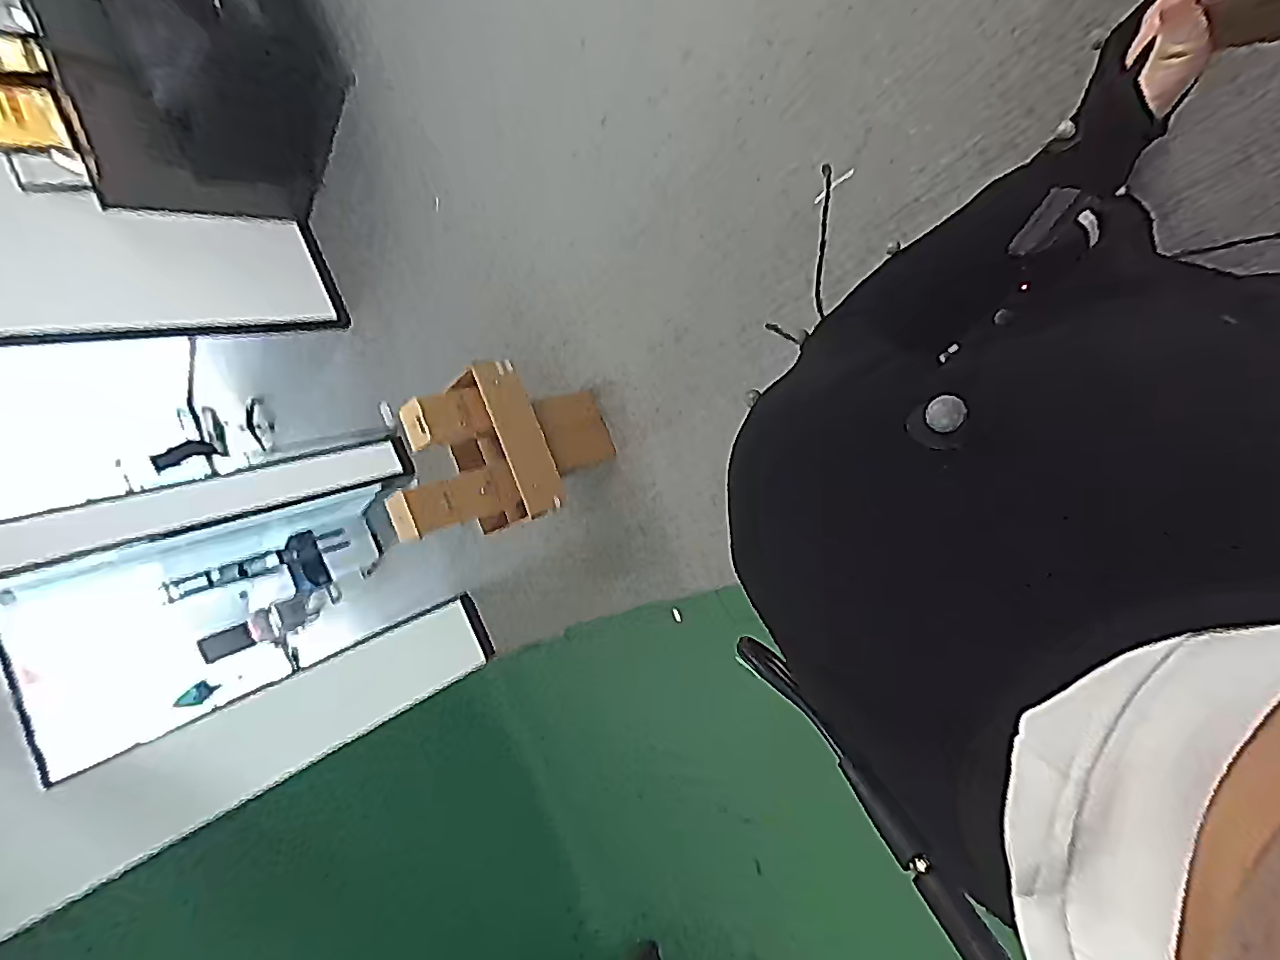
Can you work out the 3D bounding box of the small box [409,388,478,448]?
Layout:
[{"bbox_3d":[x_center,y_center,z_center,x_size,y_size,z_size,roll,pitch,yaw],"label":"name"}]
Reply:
[{"bbox_3d":[-0.731,-0.237,2.033,0.179,0.176,0.168,-20,90,46],"label":"small box"}]

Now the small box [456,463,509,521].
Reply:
[{"bbox_3d":[-0.622,0.048,2.030,0.179,0.176,0.168,-18,92,46],"label":"small box"}]

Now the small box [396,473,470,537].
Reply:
[{"bbox_3d":[-0.732,0.089,1.917,0.179,0.176,0.168,-19,92,46],"label":"small box"}]

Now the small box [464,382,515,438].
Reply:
[{"bbox_3d":[-0.626,-0.279,2.152,0.179,0.176,0.168,-22,89,45],"label":"small box"}]

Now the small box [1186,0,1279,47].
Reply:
[{"bbox_3d":[0.448,-0.391,0.306,0.168,0.176,0.179,15,118,38],"label":"small box"}]
